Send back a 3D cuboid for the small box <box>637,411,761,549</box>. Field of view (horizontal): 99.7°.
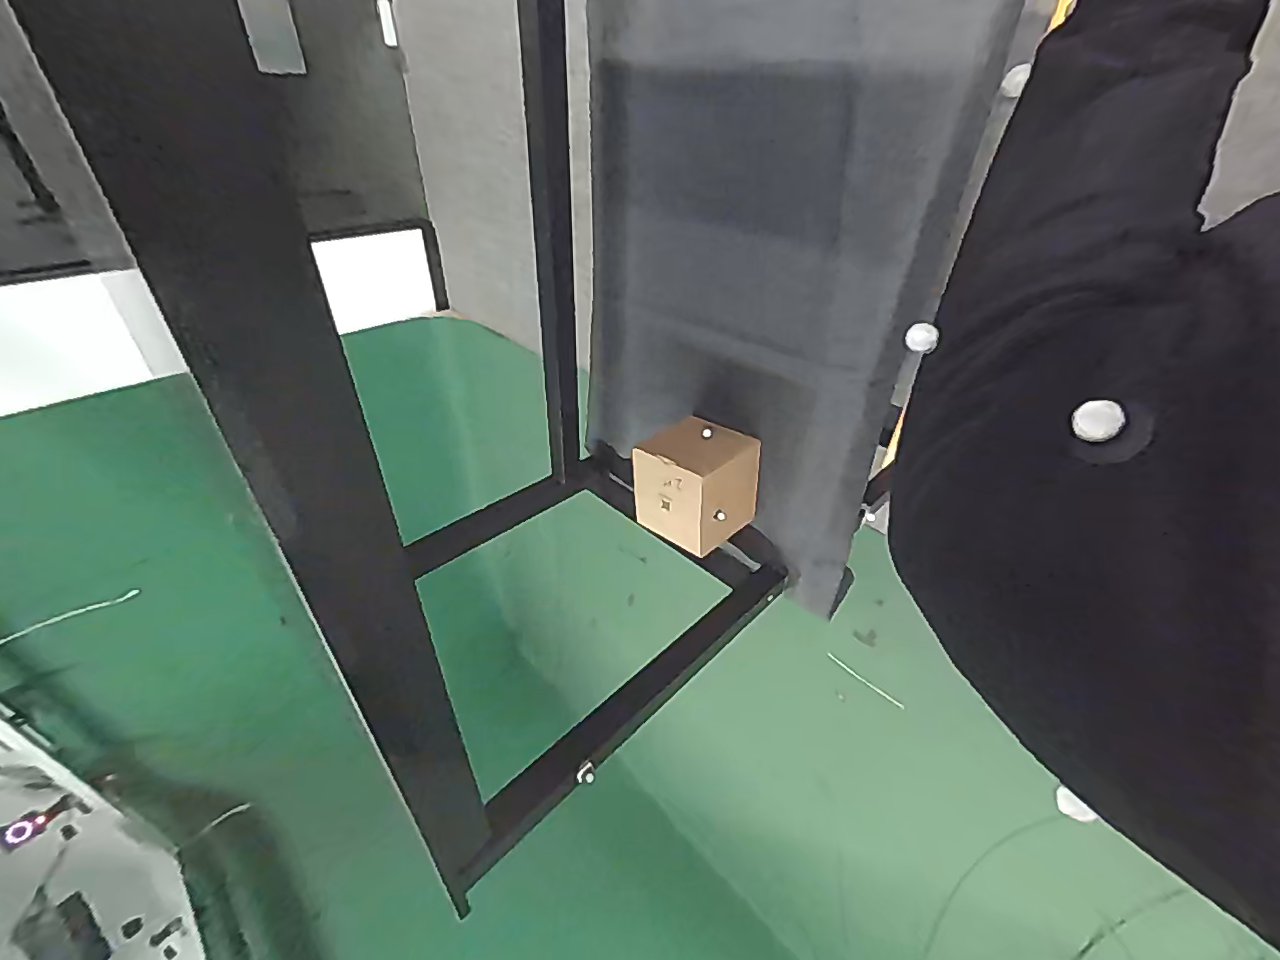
[{"bbox_3d":[0.113,-0.008,1.025,0.168,0.176,0.179,27,133,38],"label":"small box"}]
